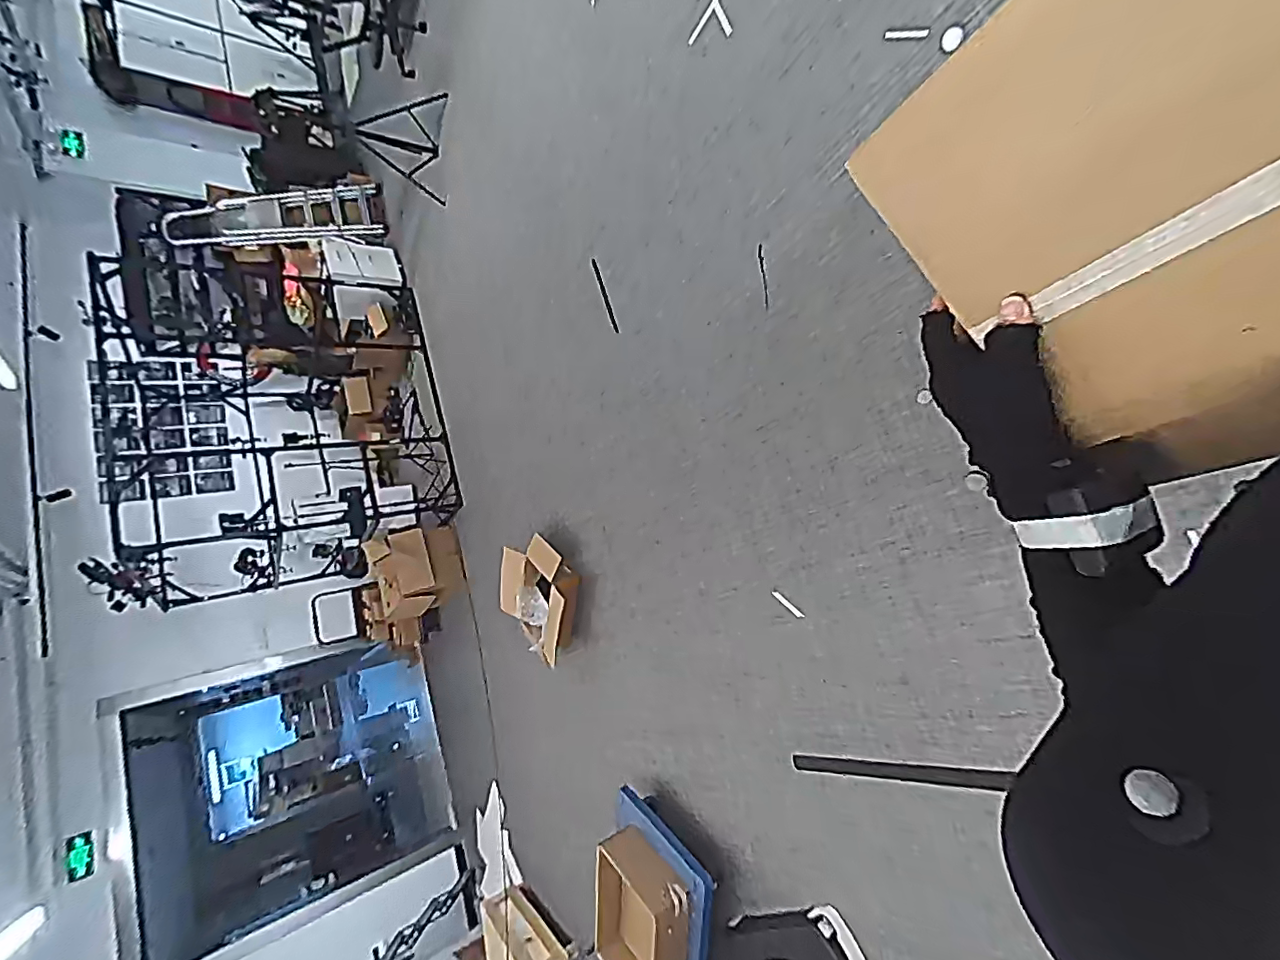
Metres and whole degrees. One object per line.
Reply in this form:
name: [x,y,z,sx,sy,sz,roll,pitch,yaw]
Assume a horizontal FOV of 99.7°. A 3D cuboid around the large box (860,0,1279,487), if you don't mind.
large box: [0.432,-0.255,0.325,0.320,0.320,0.408,48,146,-7]
